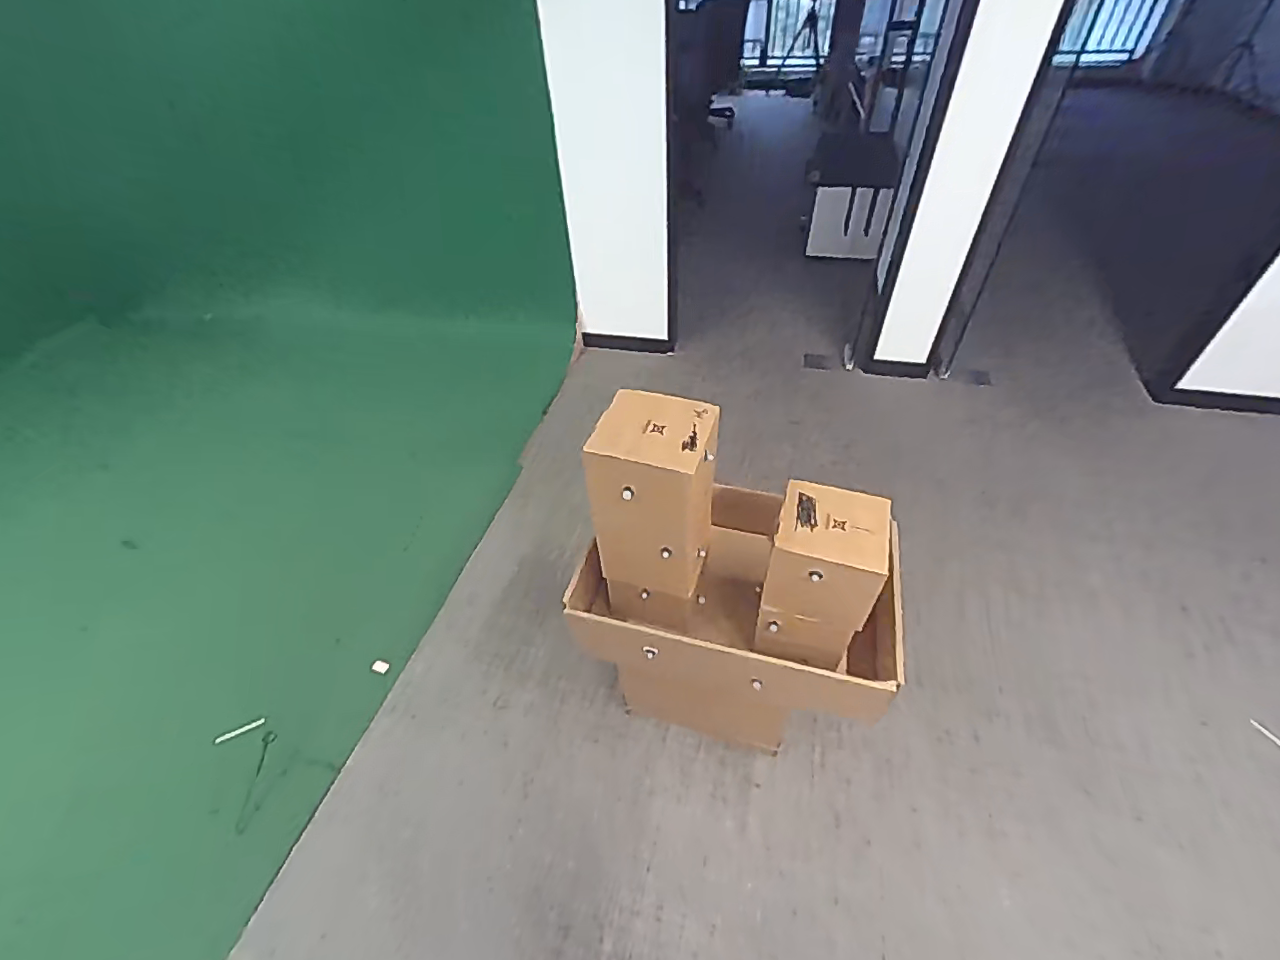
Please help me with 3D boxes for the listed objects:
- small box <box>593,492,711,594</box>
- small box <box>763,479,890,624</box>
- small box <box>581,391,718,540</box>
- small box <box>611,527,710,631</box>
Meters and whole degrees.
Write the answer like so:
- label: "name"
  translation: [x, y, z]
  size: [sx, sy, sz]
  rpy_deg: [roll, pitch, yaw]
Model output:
- label: "small box"
  translation: [0.028, 0.090, 1.011]
  size: [0.179, 0.176, 0.168]
  rpy_deg: [12, 48, 14]
- label: "small box"
  translation: [0.321, 0.127, 0.947]
  size: [0.179, 0.176, 0.168]
  rpy_deg: [13, 47, 15]
- label: "small box"
  translation: [0.022, -0.022, 0.891]
  size: [0.179, 0.176, 0.168]
  rpy_deg: [12, 48, 15]
- label: "small box"
  translation: [0.042, 0.193, 1.136]
  size: [0.179, 0.176, 0.168]
  rpy_deg: [12, 48, 14]
